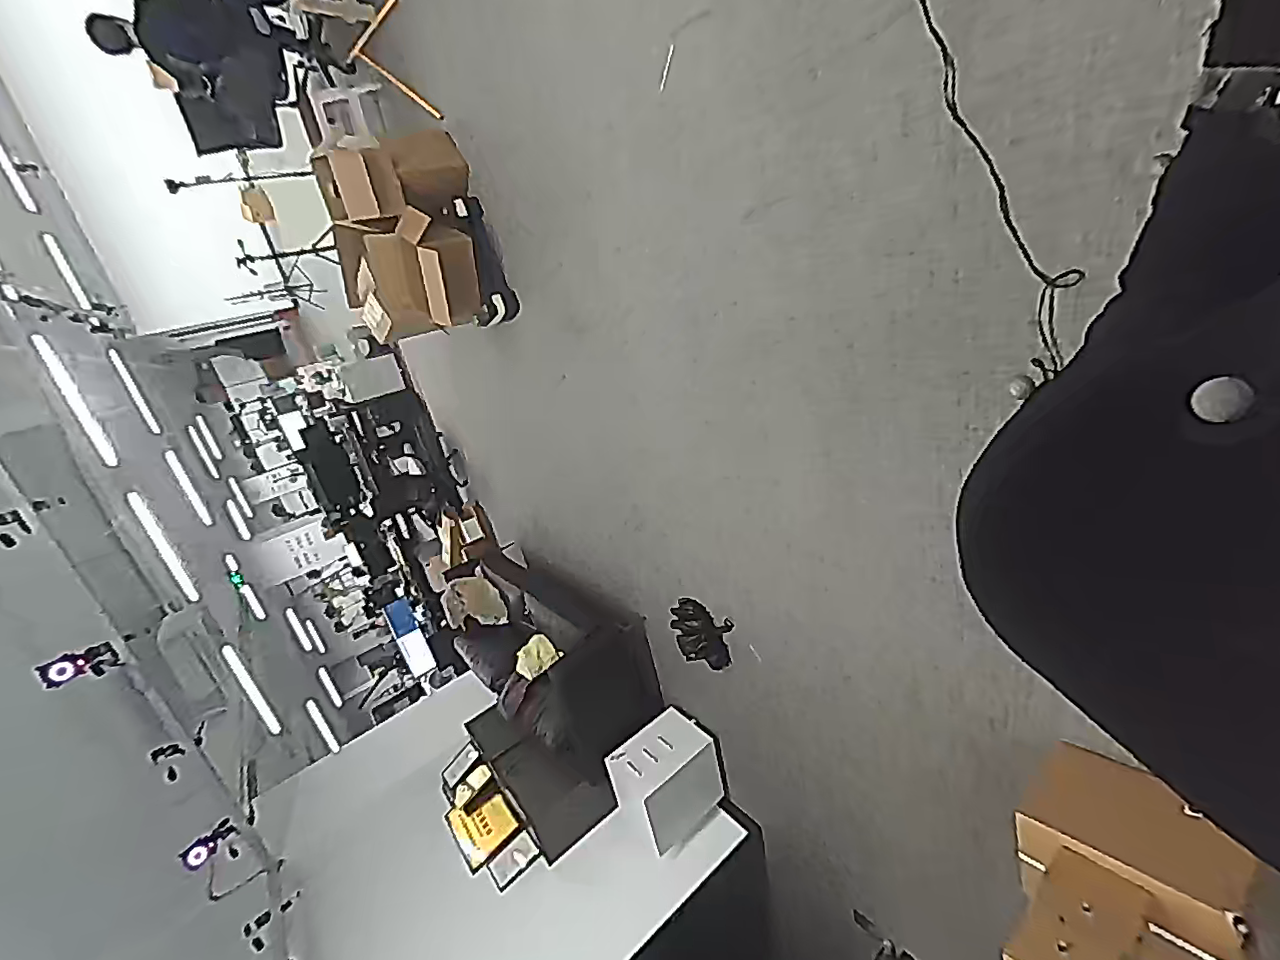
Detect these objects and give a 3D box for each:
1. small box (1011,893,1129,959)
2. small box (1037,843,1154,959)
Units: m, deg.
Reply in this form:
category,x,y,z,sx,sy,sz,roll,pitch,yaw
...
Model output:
category,x,y,z,sx,sy,sz,roll,pitch,yaw
small box,0.944,1.074,1.187,0.168,0.176,0.179,8,118,54
small box,1.069,1.009,1.268,0.179,0.176,0.168,10,120,55
